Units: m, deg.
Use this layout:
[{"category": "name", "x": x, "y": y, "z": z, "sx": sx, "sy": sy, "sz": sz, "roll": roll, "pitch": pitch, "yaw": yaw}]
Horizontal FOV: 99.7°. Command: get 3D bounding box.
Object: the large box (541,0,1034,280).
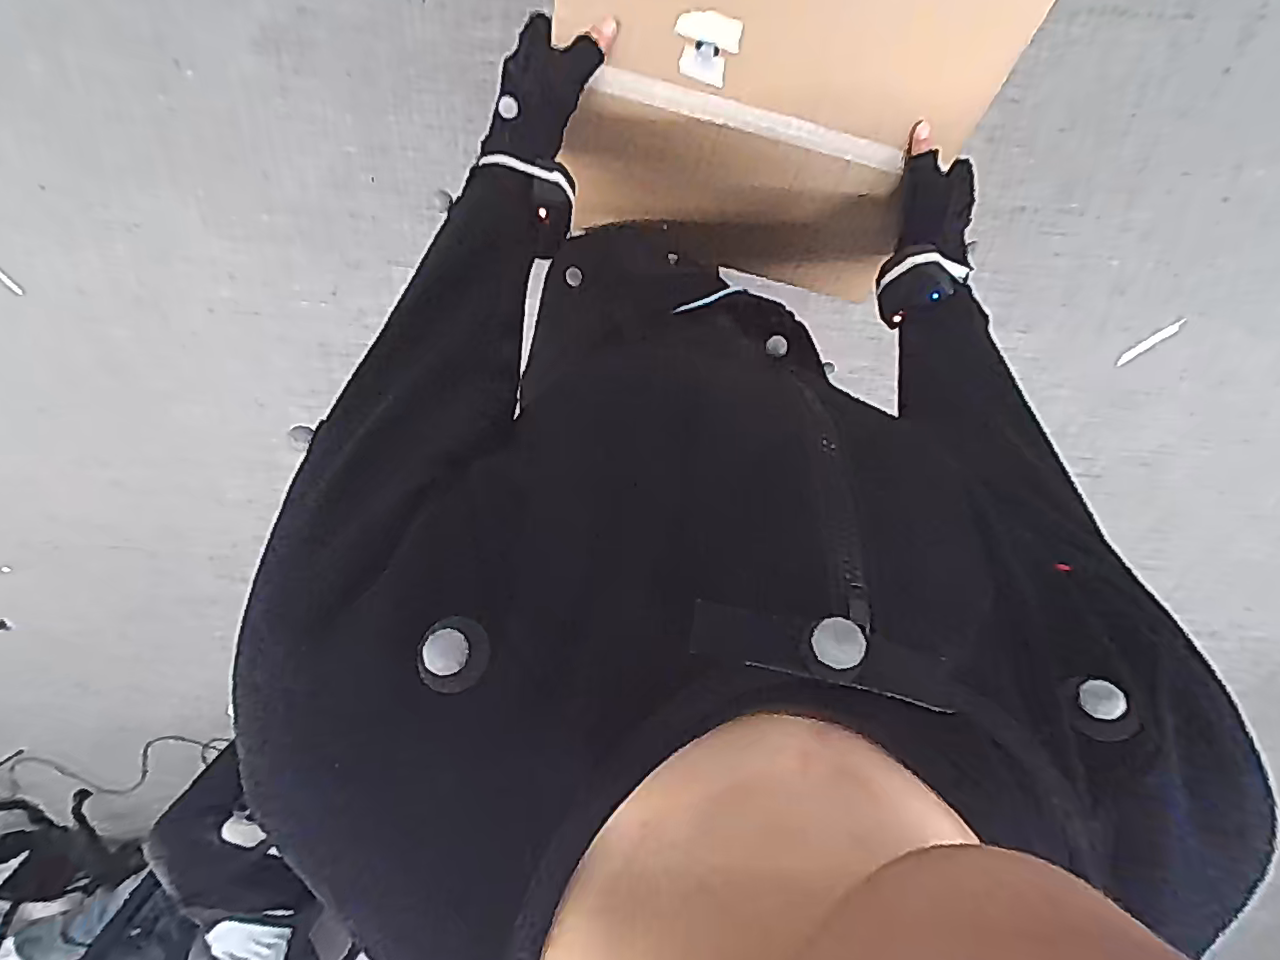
[{"category": "large box", "x": 0.128, "y": -0.490, "z": 0.614, "sx": 0.408, "sy": 0.320, "sz": 0.320, "roll": 13, "pitch": 142, "yaw": -7}]
